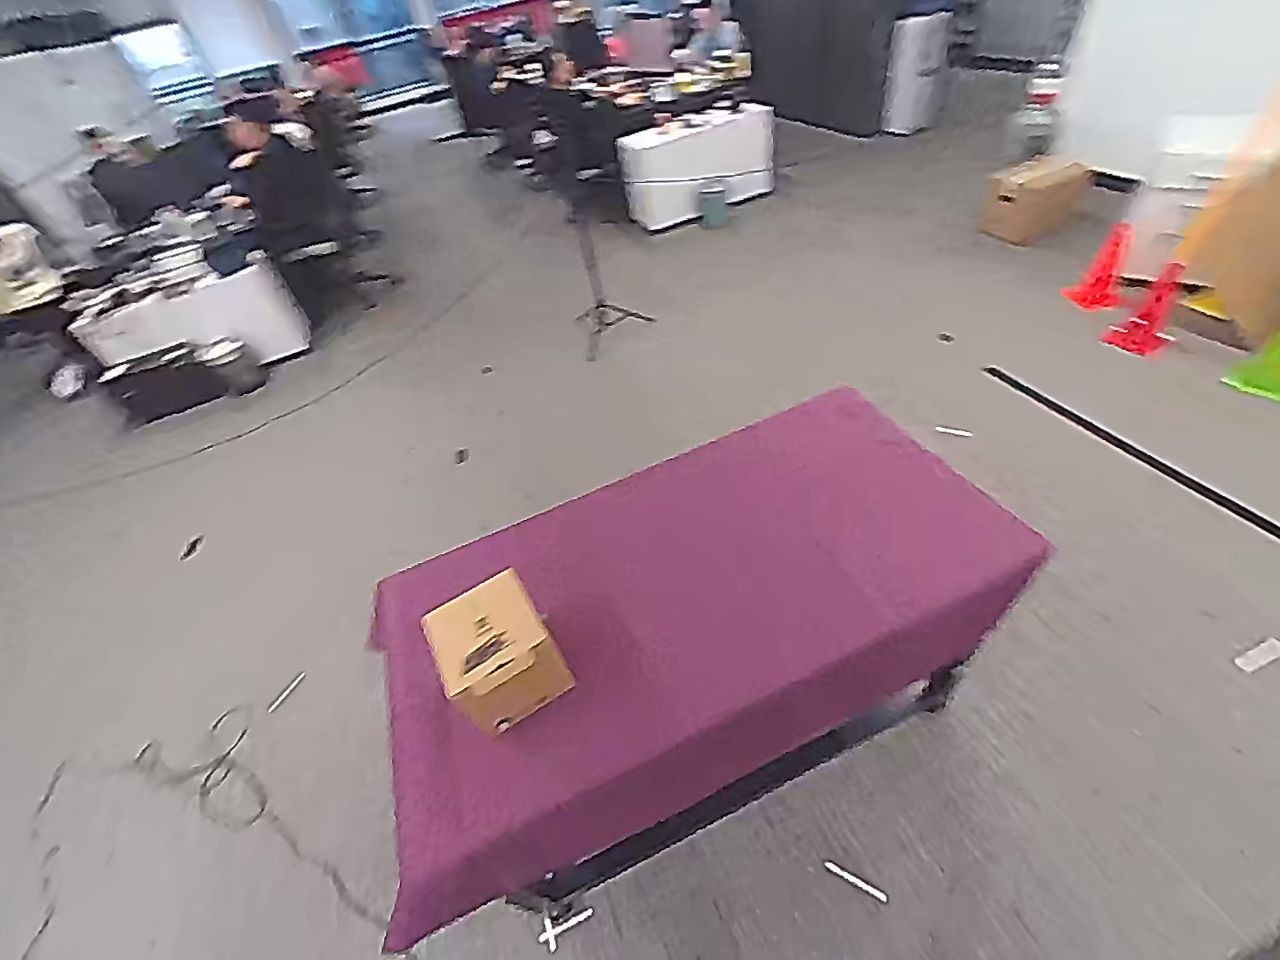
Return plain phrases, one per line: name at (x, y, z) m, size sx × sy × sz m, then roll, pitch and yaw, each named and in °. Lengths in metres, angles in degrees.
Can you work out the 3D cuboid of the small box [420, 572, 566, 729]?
small box at (-0.248, 0.301, 0.935) m, size 0.168 × 0.176 × 0.179 m, roll -29°, pitch 46°, yaw -16°
